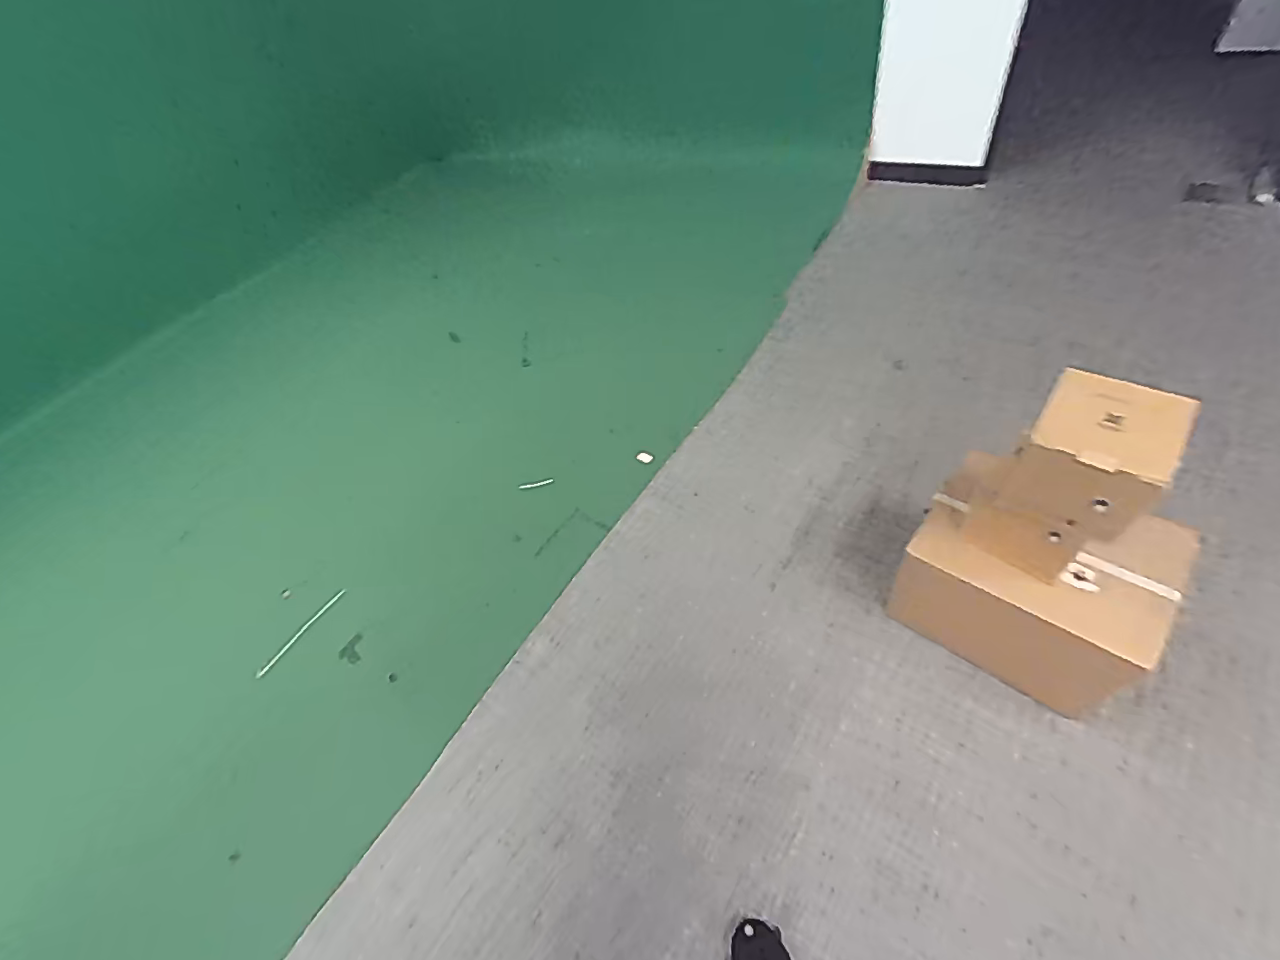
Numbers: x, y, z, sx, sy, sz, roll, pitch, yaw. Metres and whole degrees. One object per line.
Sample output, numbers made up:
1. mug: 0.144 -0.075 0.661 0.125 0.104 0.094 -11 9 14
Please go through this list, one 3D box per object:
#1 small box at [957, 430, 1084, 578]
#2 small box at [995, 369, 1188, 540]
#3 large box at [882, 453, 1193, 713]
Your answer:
1. small box: 0.714 0.046 0.982 0.168 0.176 0.179 -42 55 -18
2. small box: 0.689 -0.036 0.845 0.168 0.176 0.179 27 62 29
3. large box: 0.796 0.210 1.147 0.408 0.320 0.320 29 66 30
